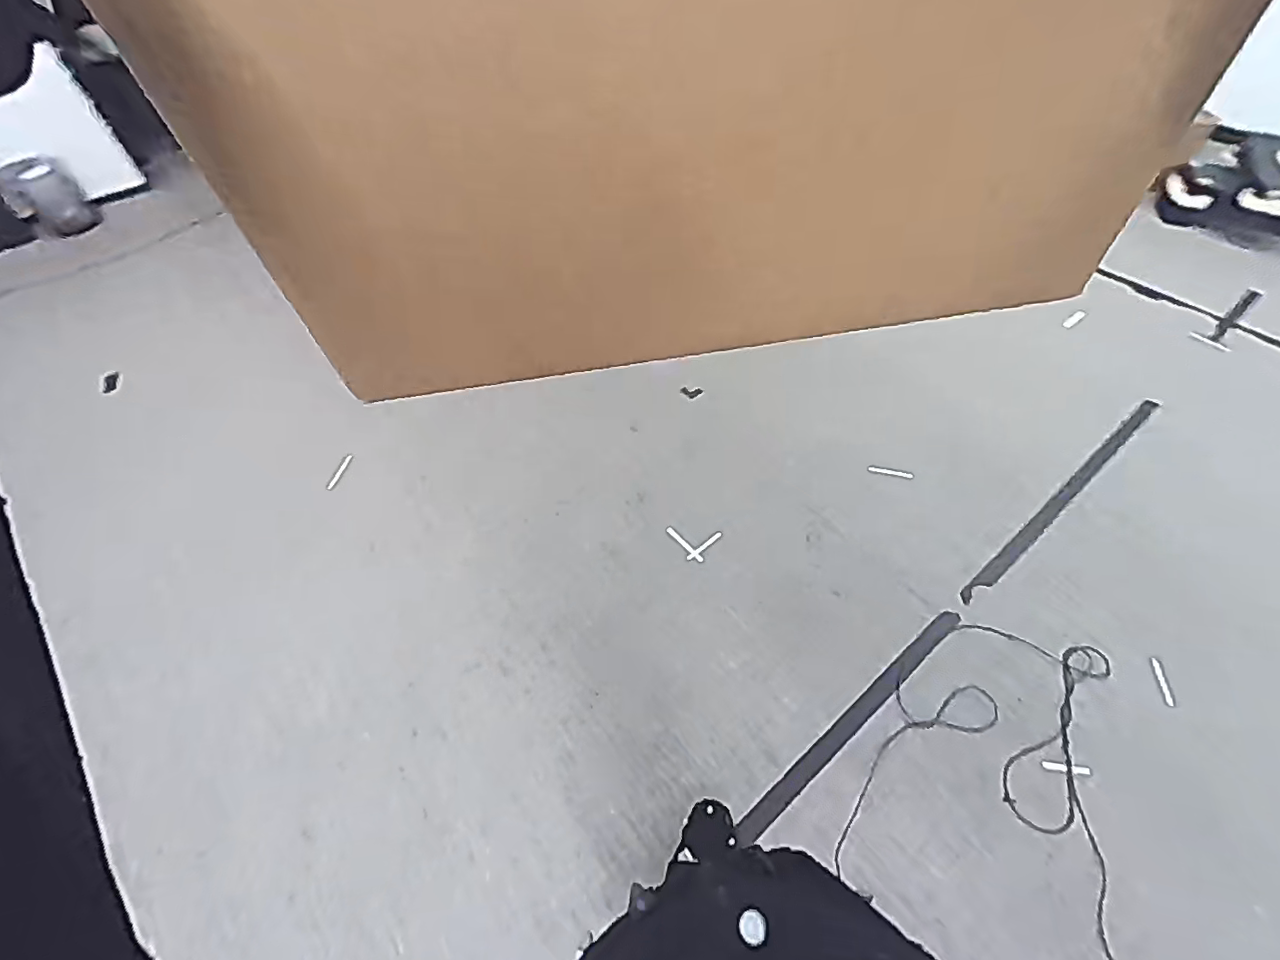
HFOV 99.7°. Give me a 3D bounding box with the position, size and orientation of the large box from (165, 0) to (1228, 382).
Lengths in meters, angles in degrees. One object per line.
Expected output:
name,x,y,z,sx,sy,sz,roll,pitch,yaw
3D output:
large box,0.019,-0.287,0.283,0.408,0.320,0.320,-9,53,-3
